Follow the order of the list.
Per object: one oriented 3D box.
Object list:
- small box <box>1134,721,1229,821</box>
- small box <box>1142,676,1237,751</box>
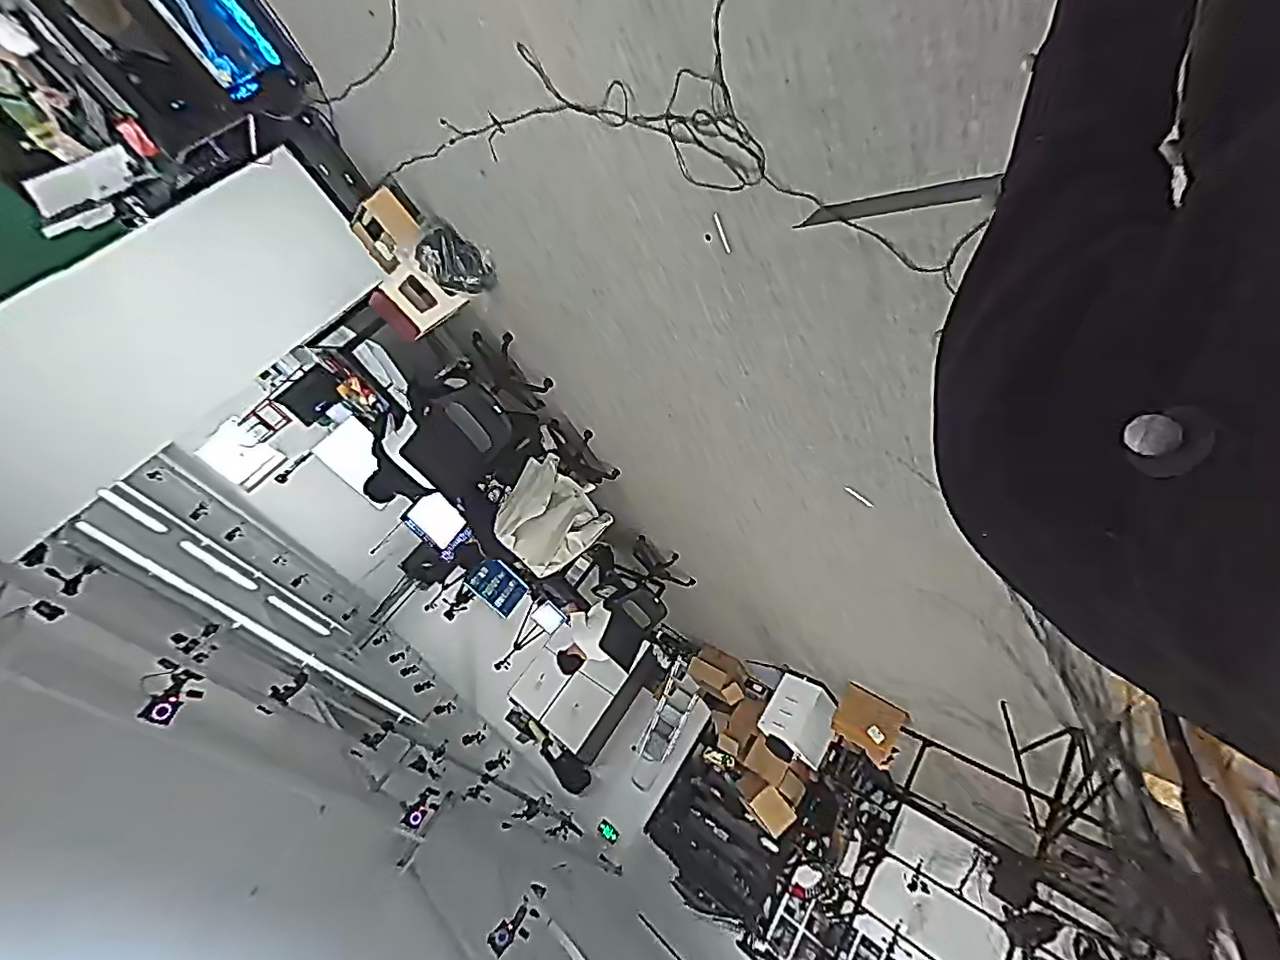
[{"bbox_3d":[1.585,0.846,1.583,0.168,0.176,0.179,14,146,45],"label":"small box"},{"bbox_3d":[1.680,0.734,1.654,0.179,0.176,0.168,15,146,46],"label":"small box"}]
